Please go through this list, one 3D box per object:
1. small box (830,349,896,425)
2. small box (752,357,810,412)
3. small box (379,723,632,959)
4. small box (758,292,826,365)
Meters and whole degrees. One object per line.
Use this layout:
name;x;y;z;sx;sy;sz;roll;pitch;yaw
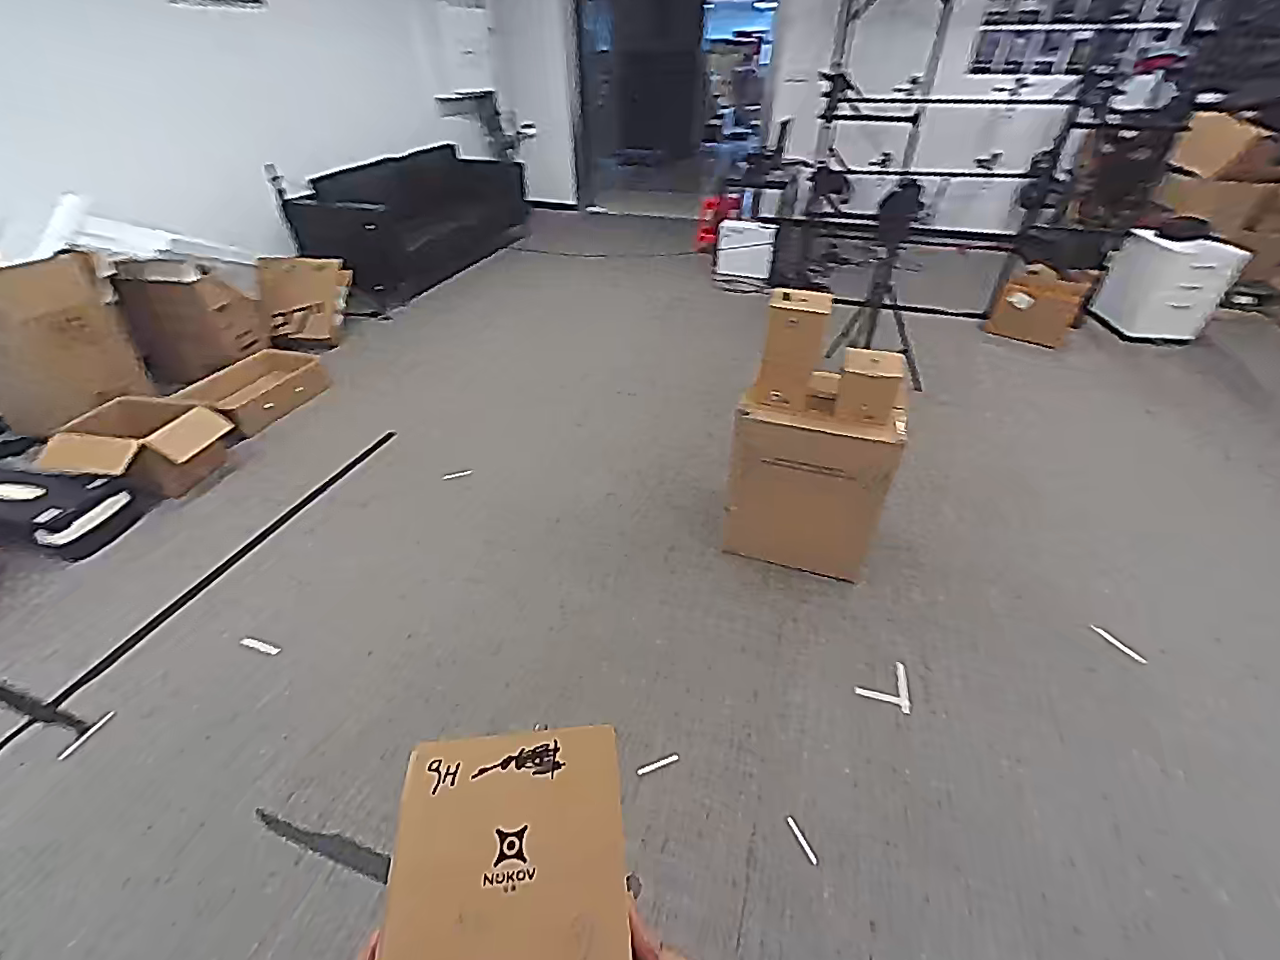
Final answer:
small box;0.713;-0.300;1.736;0.168;0.176;0.179;10;40;16
small box;0.475;-0.350;1.807;0.168;0.176;0.179;11;41;15
small box;-0.093;0.325;0.447;0.168;0.176;0.179;-3;47;-5
small box;0.475;-0.477;1.702;0.179;0.176;0.168;12;40;14
